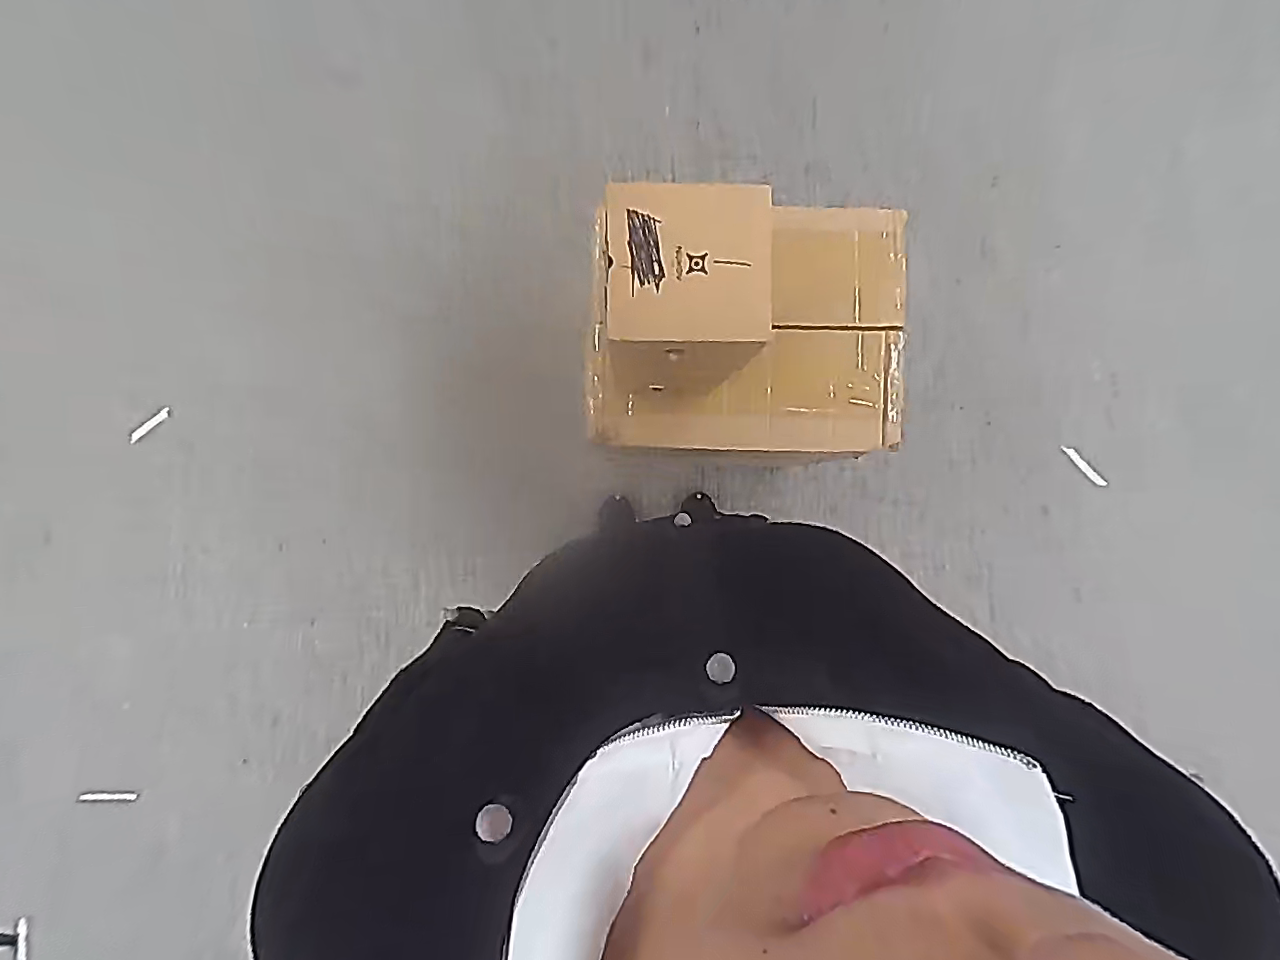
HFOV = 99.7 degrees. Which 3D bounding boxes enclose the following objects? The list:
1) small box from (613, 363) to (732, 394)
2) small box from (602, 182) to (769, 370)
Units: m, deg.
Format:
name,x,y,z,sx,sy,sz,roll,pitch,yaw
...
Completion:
name,x,y,z,sx,sy,sz,roll,pitch,yaw
small box,0.044,-0.231,0.811,0.168,0.176,0.179,1,91,0
small box,0.048,-0.229,0.646,0.179,0.176,0.168,0,90,-1
